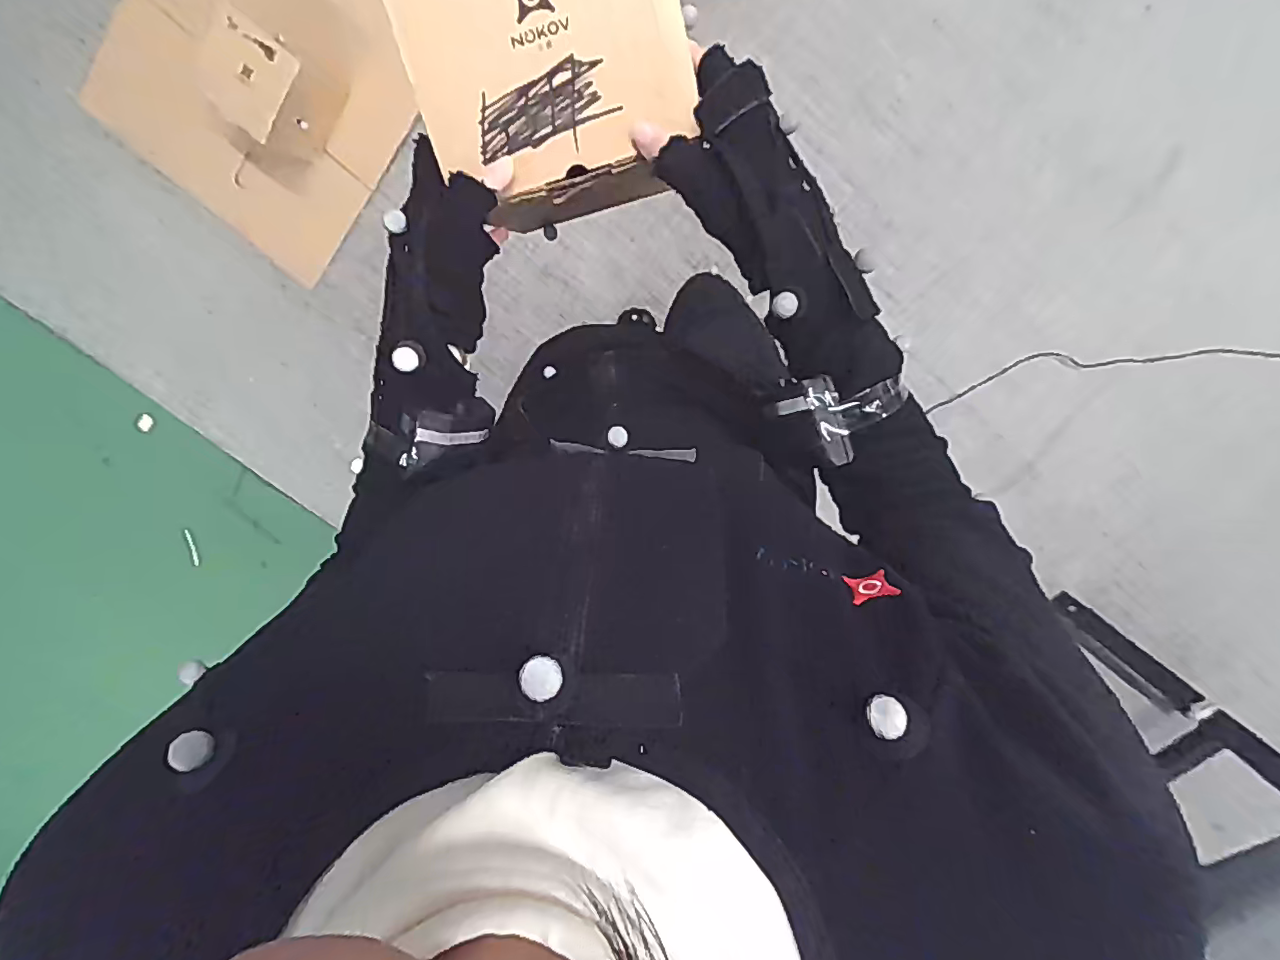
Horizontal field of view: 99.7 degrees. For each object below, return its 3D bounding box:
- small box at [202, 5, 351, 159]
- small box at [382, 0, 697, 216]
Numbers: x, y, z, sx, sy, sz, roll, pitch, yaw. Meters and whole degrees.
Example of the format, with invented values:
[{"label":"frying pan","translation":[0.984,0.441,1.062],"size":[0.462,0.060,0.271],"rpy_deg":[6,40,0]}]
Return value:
[{"label":"small box","translation":[-0.744,-0.809,1.125],"size":[0.168,0.176,0.179],"rpy_deg":[36,109,-7]},{"label":"small box","translation":[-0.059,-0.305,0.388],"size":[0.168,0.176,0.179],"rpy_deg":[-15,110,10]}]
